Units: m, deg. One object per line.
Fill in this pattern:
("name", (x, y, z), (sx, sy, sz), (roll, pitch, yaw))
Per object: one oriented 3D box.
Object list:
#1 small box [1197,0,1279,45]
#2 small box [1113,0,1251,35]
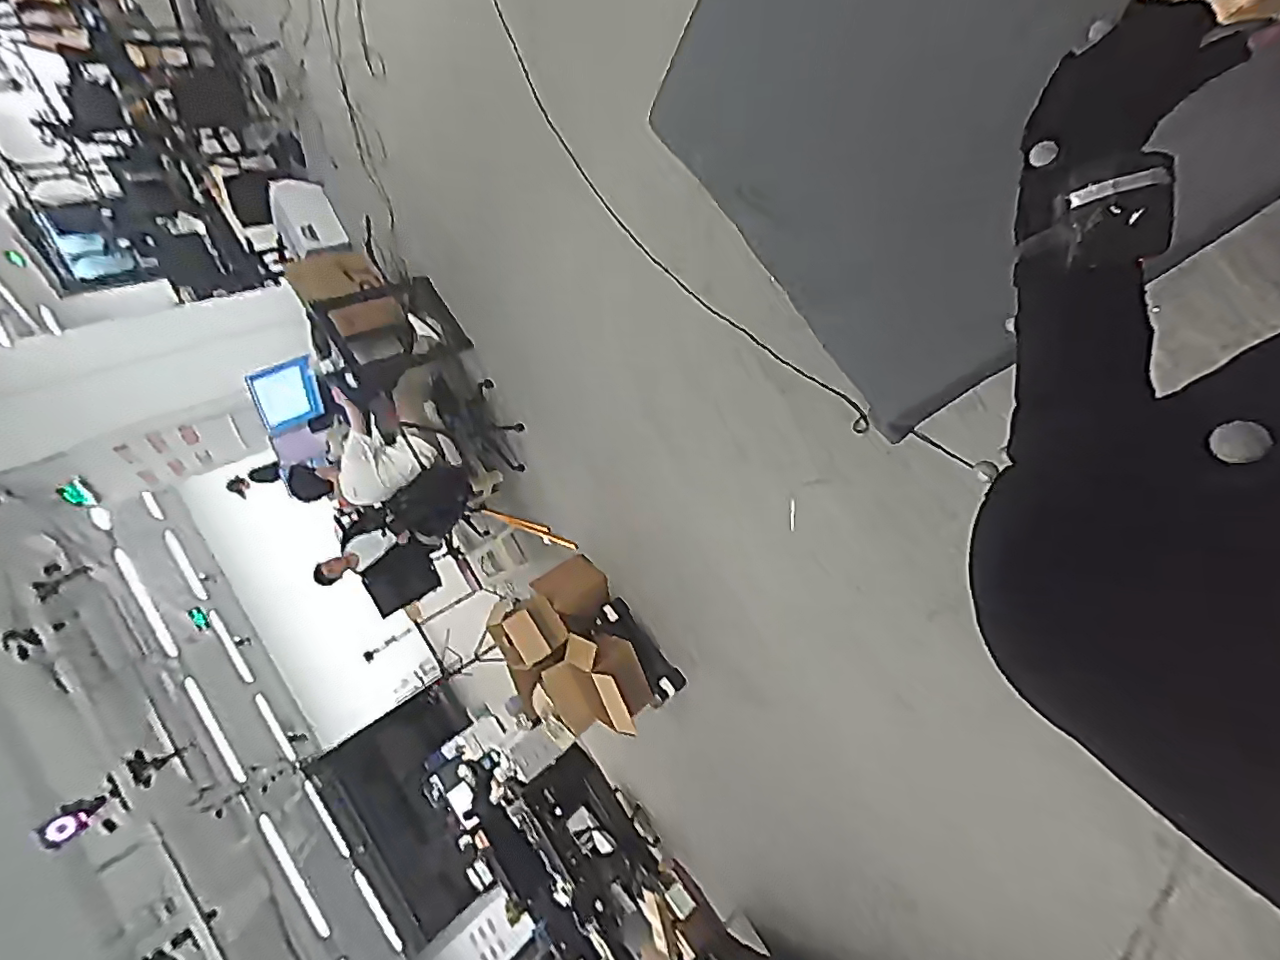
("small box", (0.303, -0.312, 0.194), (0.168, 0.176, 0.179), (58, 150, -3))
("small box", (0.186, -0.241, 0.107), (0.168, 0.176, 0.179), (57, 148, -2))
